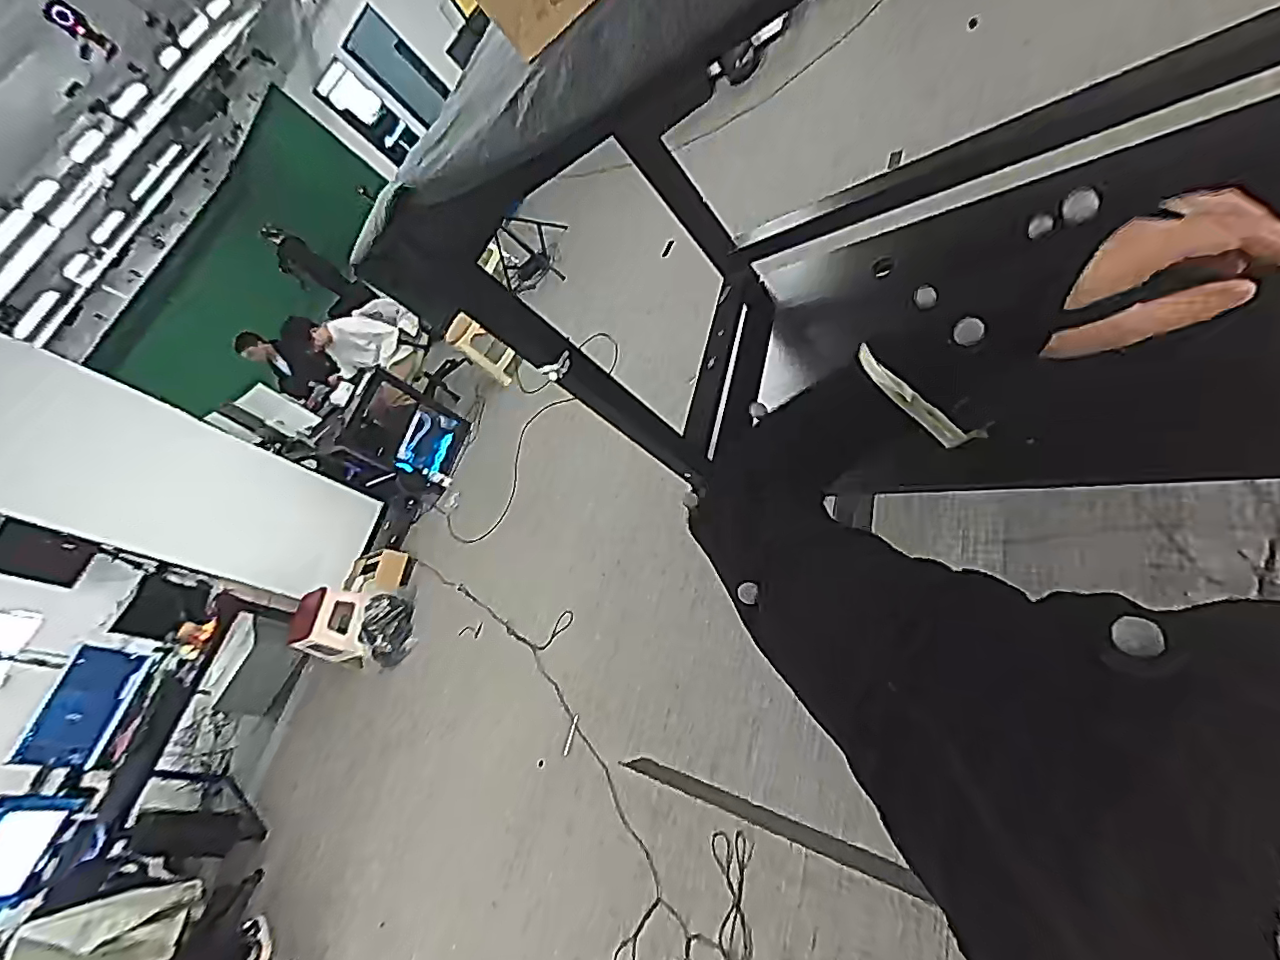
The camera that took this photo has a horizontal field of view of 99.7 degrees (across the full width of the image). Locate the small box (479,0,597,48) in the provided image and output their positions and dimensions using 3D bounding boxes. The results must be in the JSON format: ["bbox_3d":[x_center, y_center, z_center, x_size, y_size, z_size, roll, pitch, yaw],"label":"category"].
[{"bbox_3d":[-0.071,-0.492,0.419,0.168,0.176,0.179,-1,61,44],"label":"small box"}]
